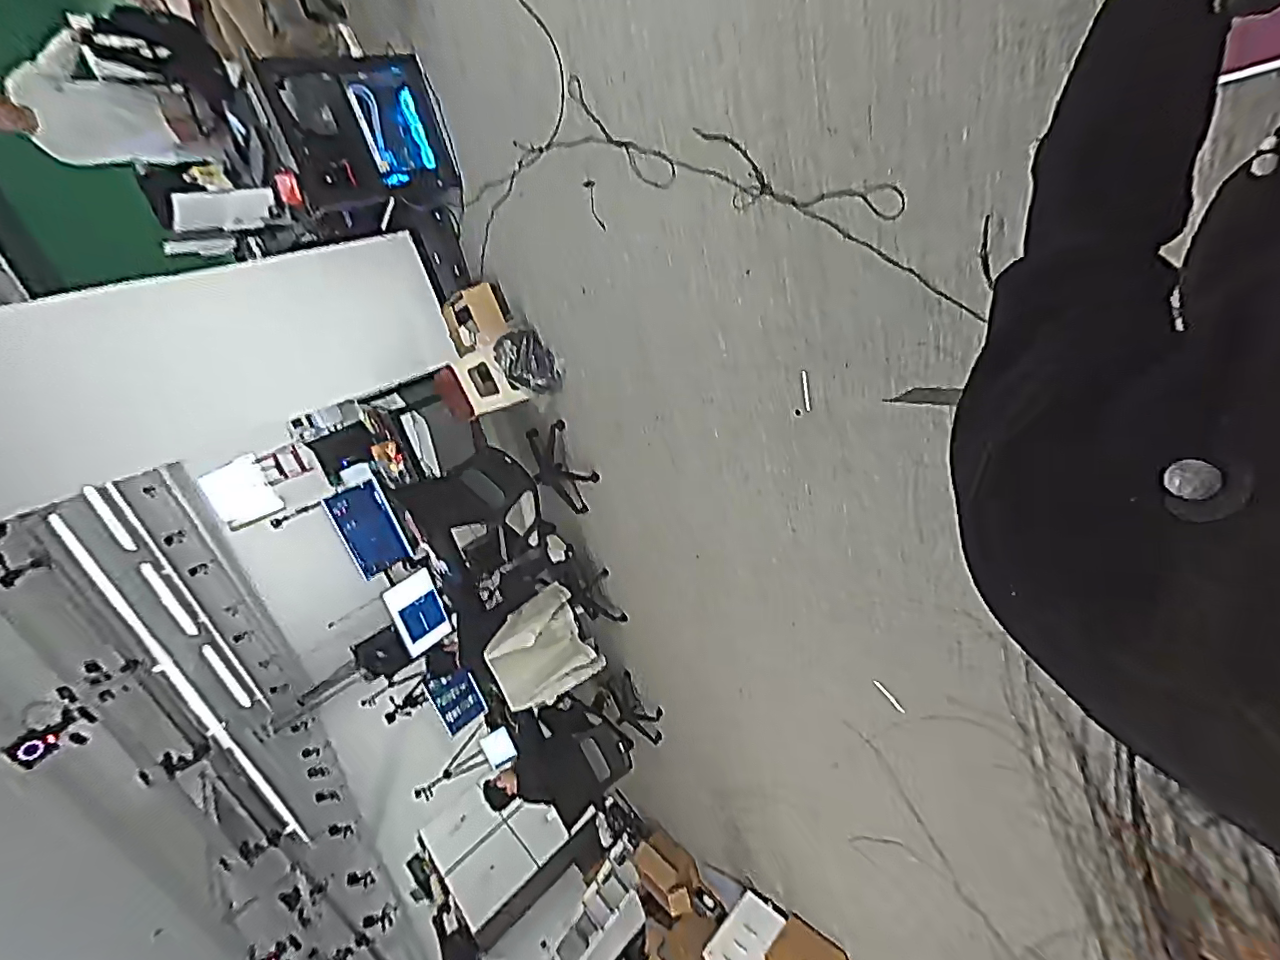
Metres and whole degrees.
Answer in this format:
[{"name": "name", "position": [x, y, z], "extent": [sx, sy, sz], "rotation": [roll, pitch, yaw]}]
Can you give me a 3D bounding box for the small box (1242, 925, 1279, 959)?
[{"name": "small box", "position": [1.770, 1.386, 1.476], "extent": [0.168, 0.176, 0.179], "rotation": [8, 124, 51]}]
